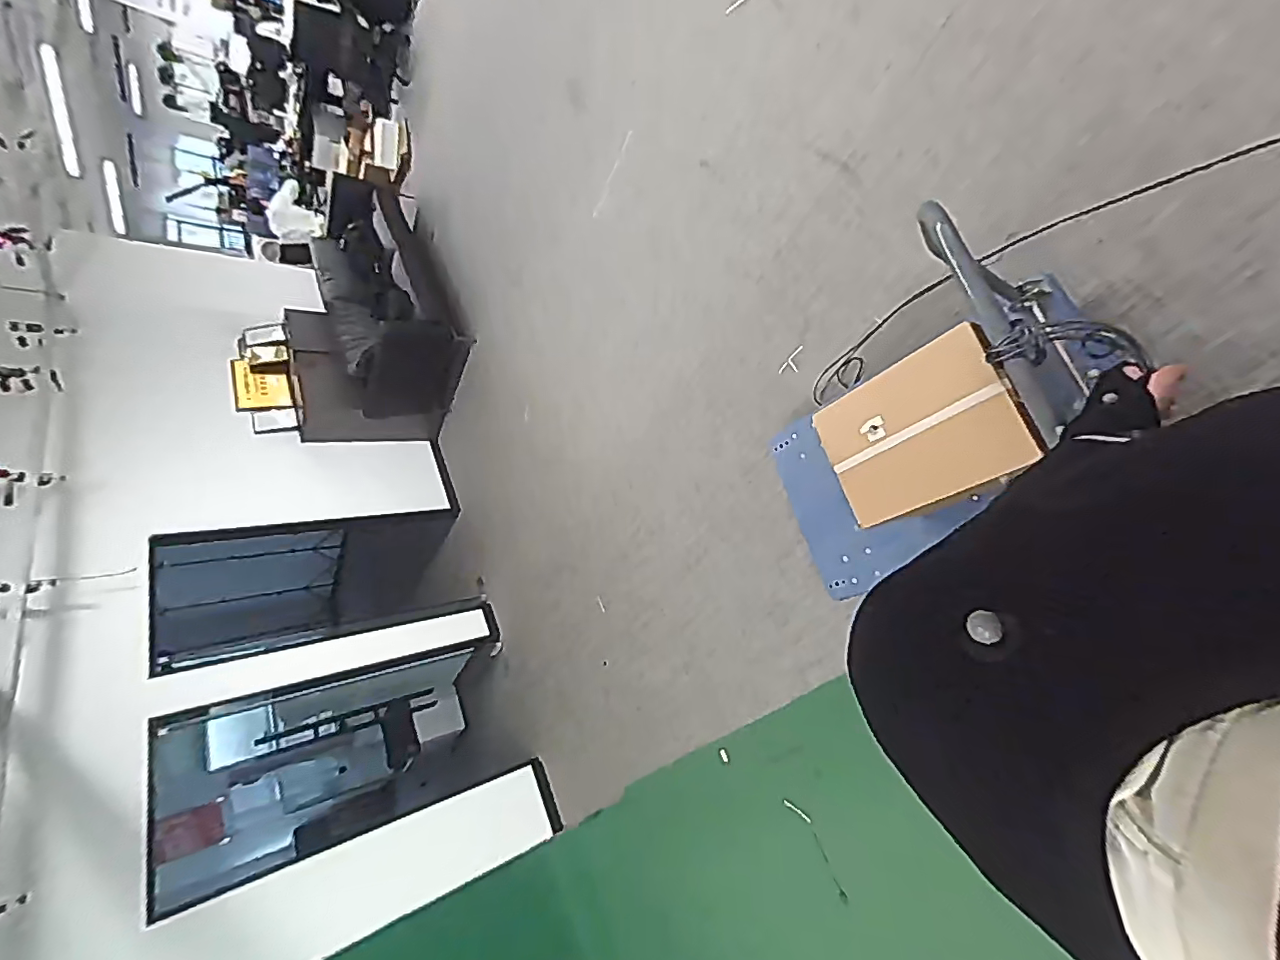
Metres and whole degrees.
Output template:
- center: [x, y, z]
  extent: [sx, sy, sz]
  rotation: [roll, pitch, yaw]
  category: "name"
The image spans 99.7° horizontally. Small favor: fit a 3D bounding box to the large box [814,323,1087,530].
- center: [0.708, -0.111, 1.269]
  extent: [0.408, 0.320, 0.320]
  rotation: [-37, 65, 48]
  category: "large box"
